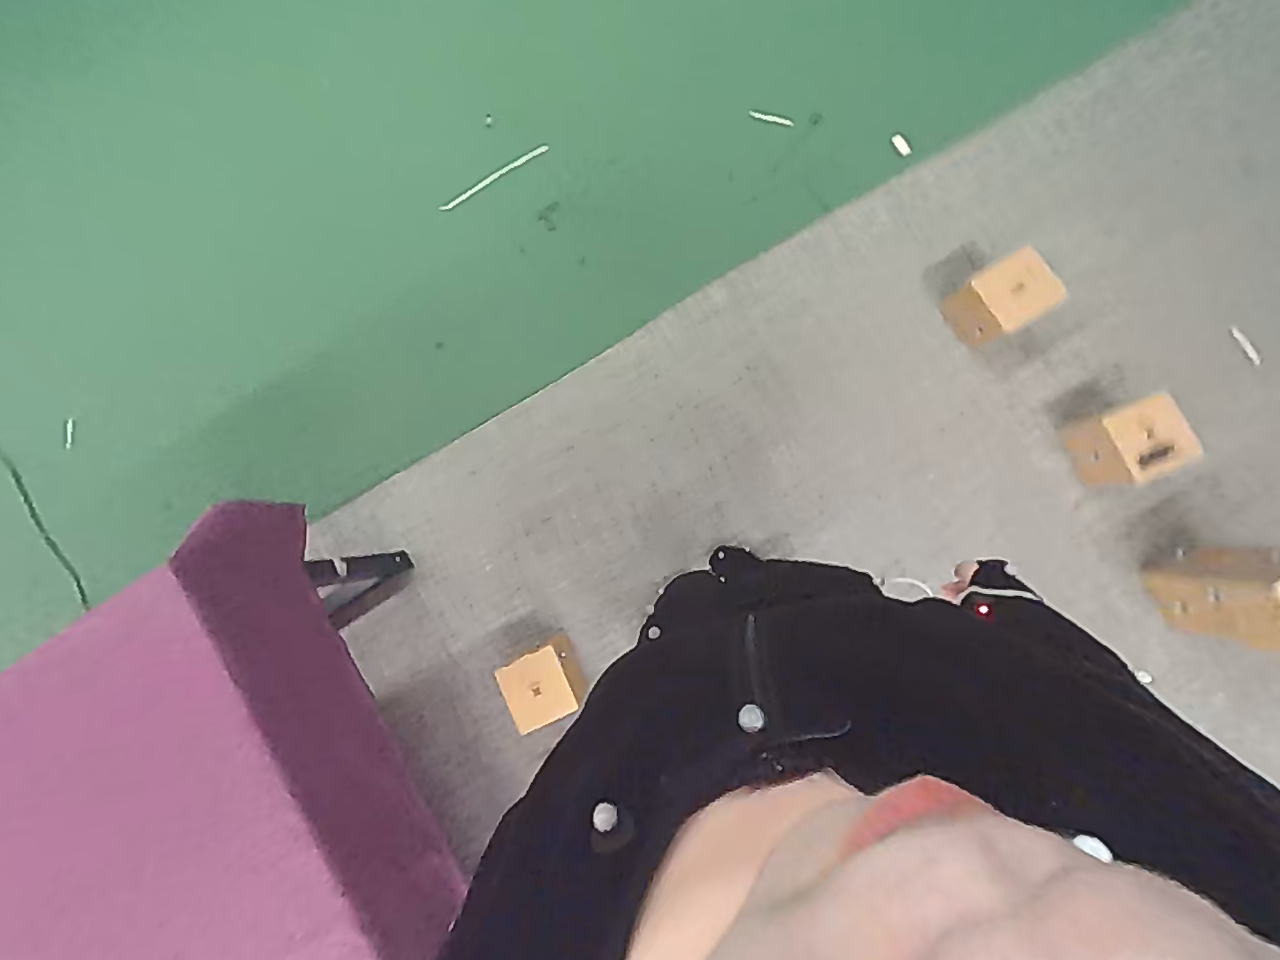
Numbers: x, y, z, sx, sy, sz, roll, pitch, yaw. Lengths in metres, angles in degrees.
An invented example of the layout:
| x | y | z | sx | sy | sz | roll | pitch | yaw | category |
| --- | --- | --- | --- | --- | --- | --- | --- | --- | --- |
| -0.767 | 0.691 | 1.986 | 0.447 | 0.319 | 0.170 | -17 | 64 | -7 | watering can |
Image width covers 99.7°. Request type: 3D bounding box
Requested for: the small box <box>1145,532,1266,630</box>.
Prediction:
| x | y | z | sx | sy | sz | roll | pitch | yaw | category |
| --- | --- | --- | --- | --- | --- | --- | --- | --- | --- |
| 1.375 | 0.235 | 1.292 | 0.179 | 0.176 | 0.168 | -28 | 84 | 4 | small box |

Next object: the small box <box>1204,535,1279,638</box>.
| x | y | z | sx | sy | sz | roll | pitch | yaw | category |
| --- | --- | --- | --- | --- | --- | --- | --- | --- | --- |
| 1.354 | 0.224 | 1.128 | 0.179 | 0.176 | 0.168 | -27 | 84 | 2 | small box |

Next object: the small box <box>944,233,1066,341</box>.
| x | y | z | sx | sy | sz | roll | pitch | yaw | category |
| --- | --- | --- | --- | --- | --- | --- | --- | --- | --- |
| 0.921 | -0.485 | 1.391 | 0.179 | 0.176 | 0.168 | -32 | 84 | 2 | small box |
